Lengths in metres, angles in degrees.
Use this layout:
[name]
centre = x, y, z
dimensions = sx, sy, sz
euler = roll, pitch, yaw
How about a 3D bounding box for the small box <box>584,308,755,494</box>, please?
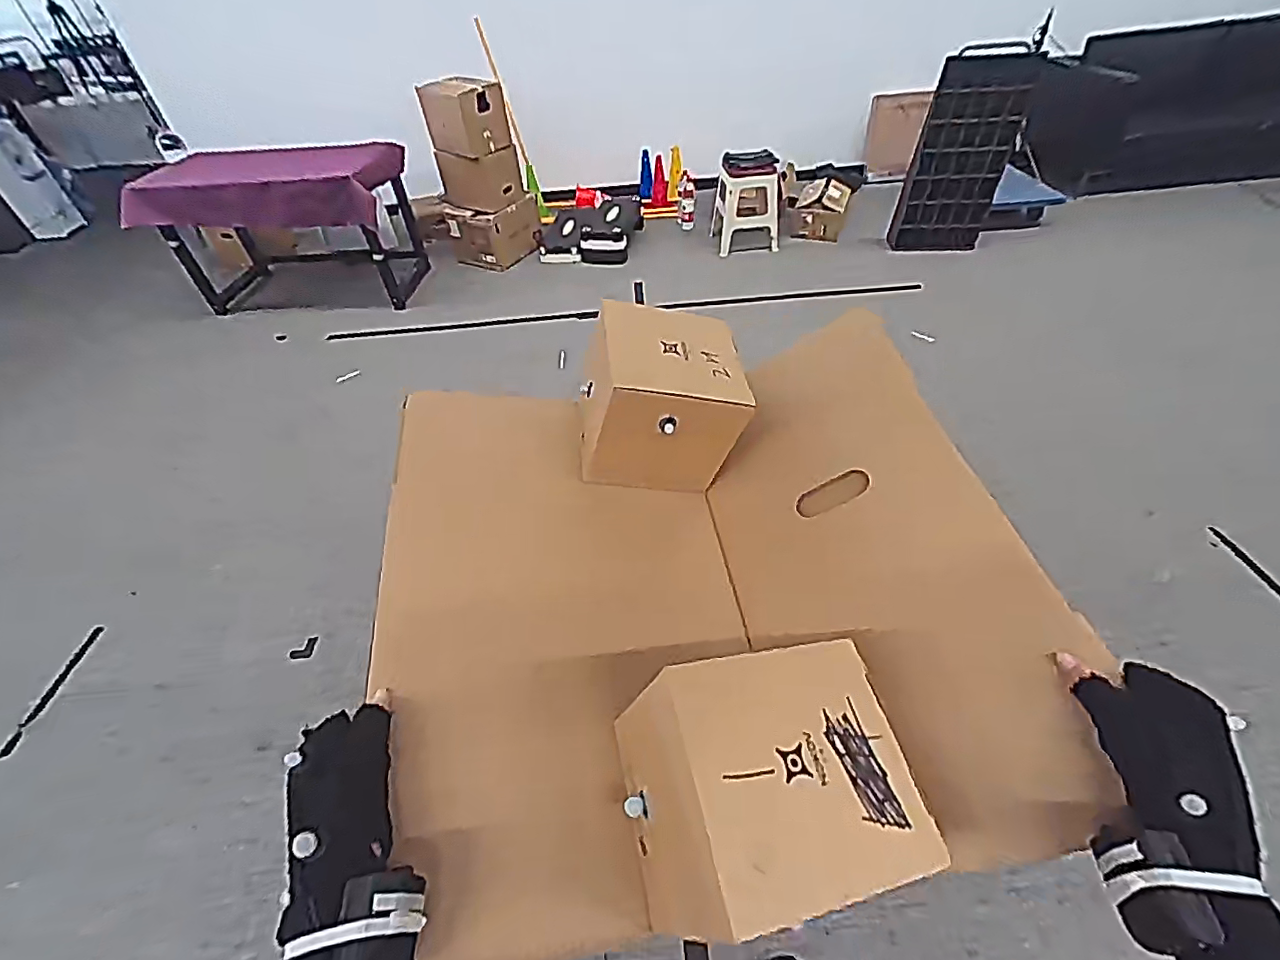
[small box]
centre = 0.023, -0.096, 0.714
dimensions = 0.179, 0.176, 0.168
euler = 6, 50, -16
